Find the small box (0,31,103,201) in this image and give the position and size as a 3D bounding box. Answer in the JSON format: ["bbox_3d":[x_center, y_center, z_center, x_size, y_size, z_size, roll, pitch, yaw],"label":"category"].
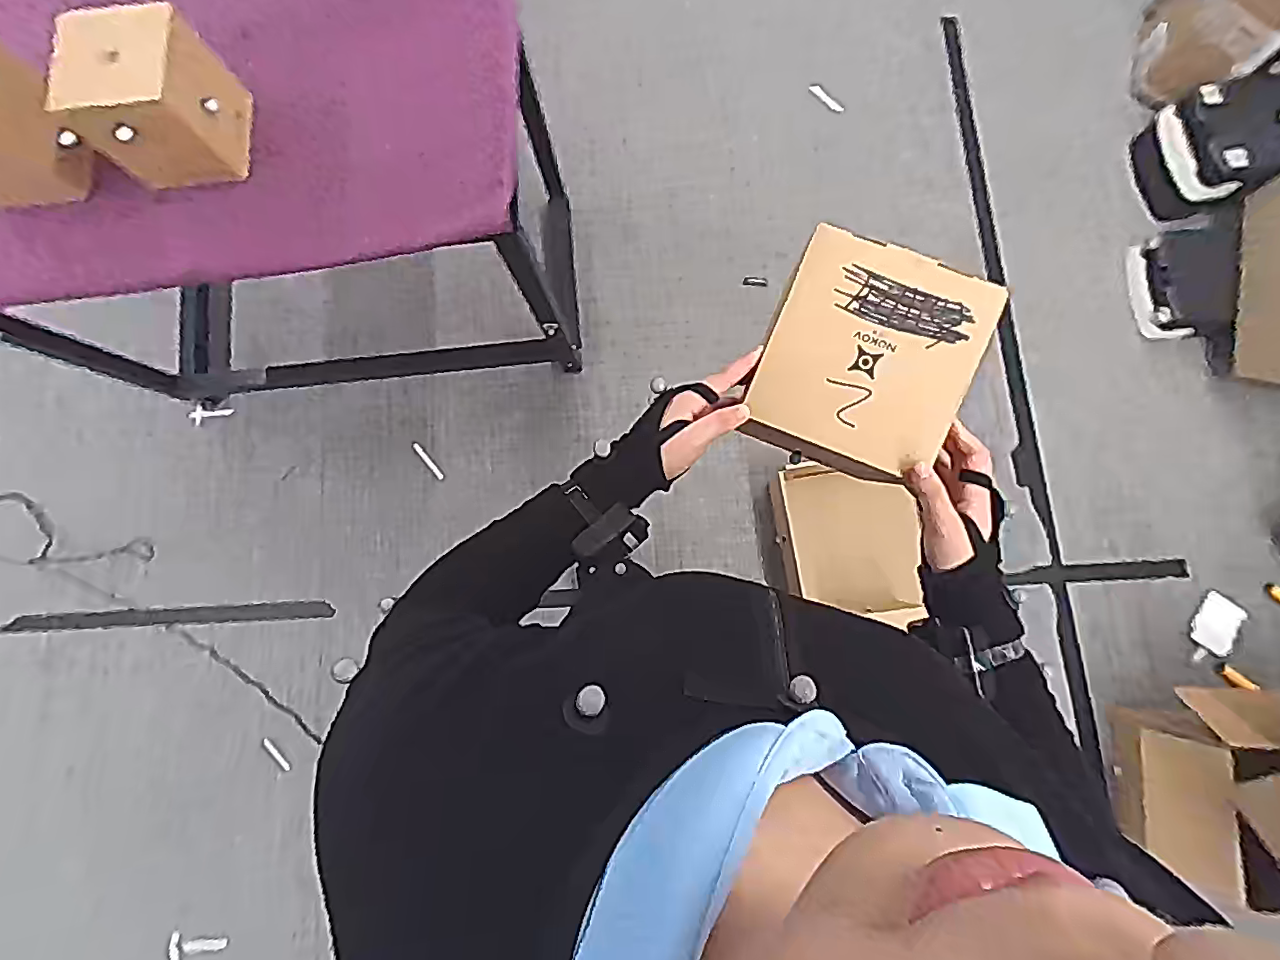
[{"bbox_3d":[-1.036,-0.579,0.874,0.179,0.176,0.168,-4,82,1],"label":"small box"}]

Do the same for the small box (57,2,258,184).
[{"bbox_3d":[-0.754,-0.606,0.865,0.179,0.176,0.168,-4,81,2],"label":"small box"}]

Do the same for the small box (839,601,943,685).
[{"bbox_3d":[0.606,0.396,1.333,0.179,0.176,0.168,-7,82,1],"label":"small box"}]
